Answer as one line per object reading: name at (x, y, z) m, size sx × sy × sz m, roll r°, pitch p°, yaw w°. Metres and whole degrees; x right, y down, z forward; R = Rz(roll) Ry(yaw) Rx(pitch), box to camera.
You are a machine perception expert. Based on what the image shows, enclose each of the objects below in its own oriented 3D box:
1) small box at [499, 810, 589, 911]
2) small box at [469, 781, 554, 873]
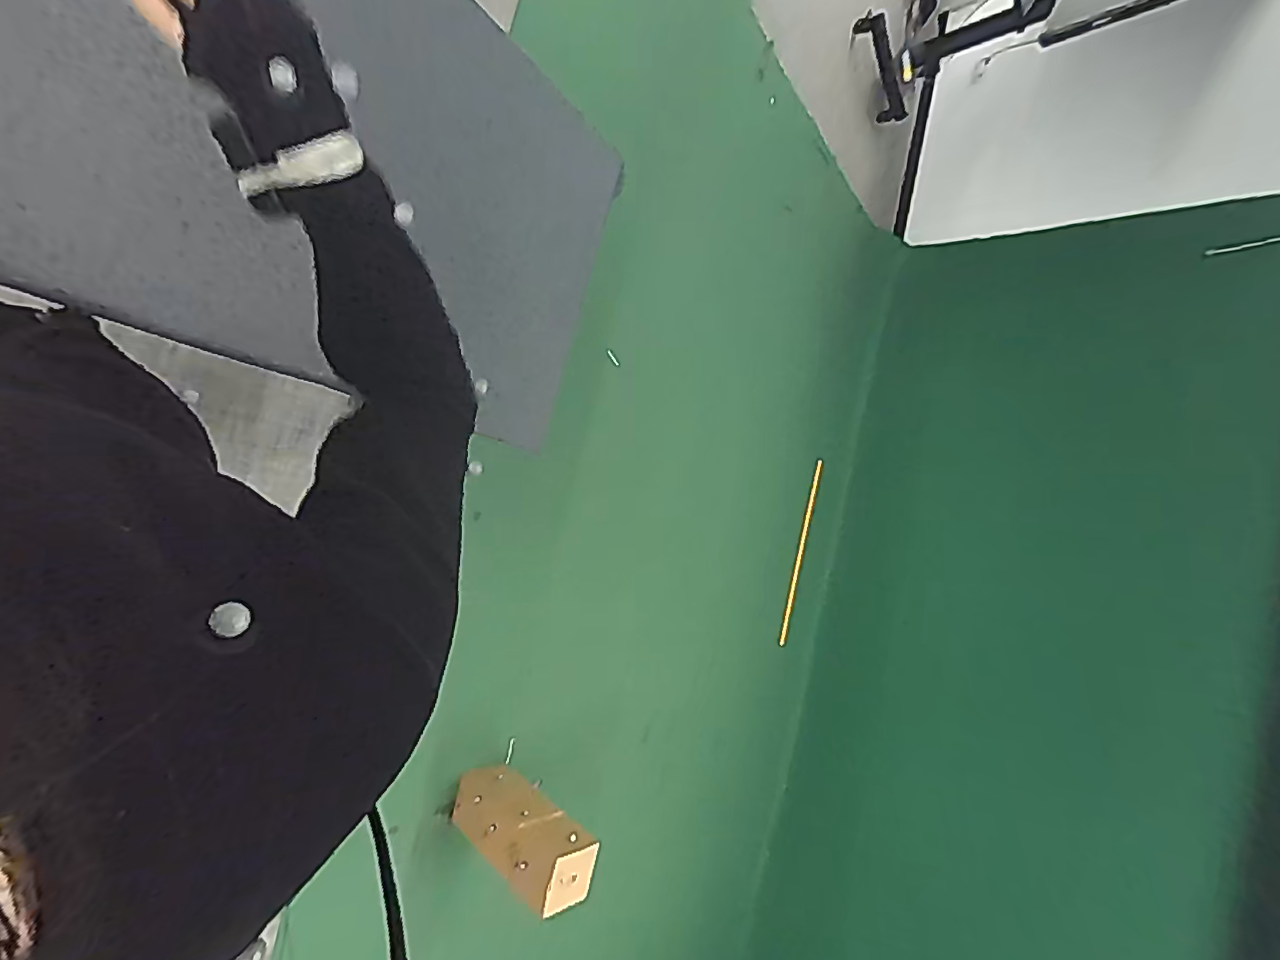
small box at (-0.288, 1.121, 1.613) m, size 0.179 × 0.176 × 0.168 m, roll 20°, pitch 83°, yaw -48°
small box at (-0.411, 1.090, 1.720) m, size 0.179 × 0.176 × 0.168 m, roll 18°, pitch 85°, yaw -48°
